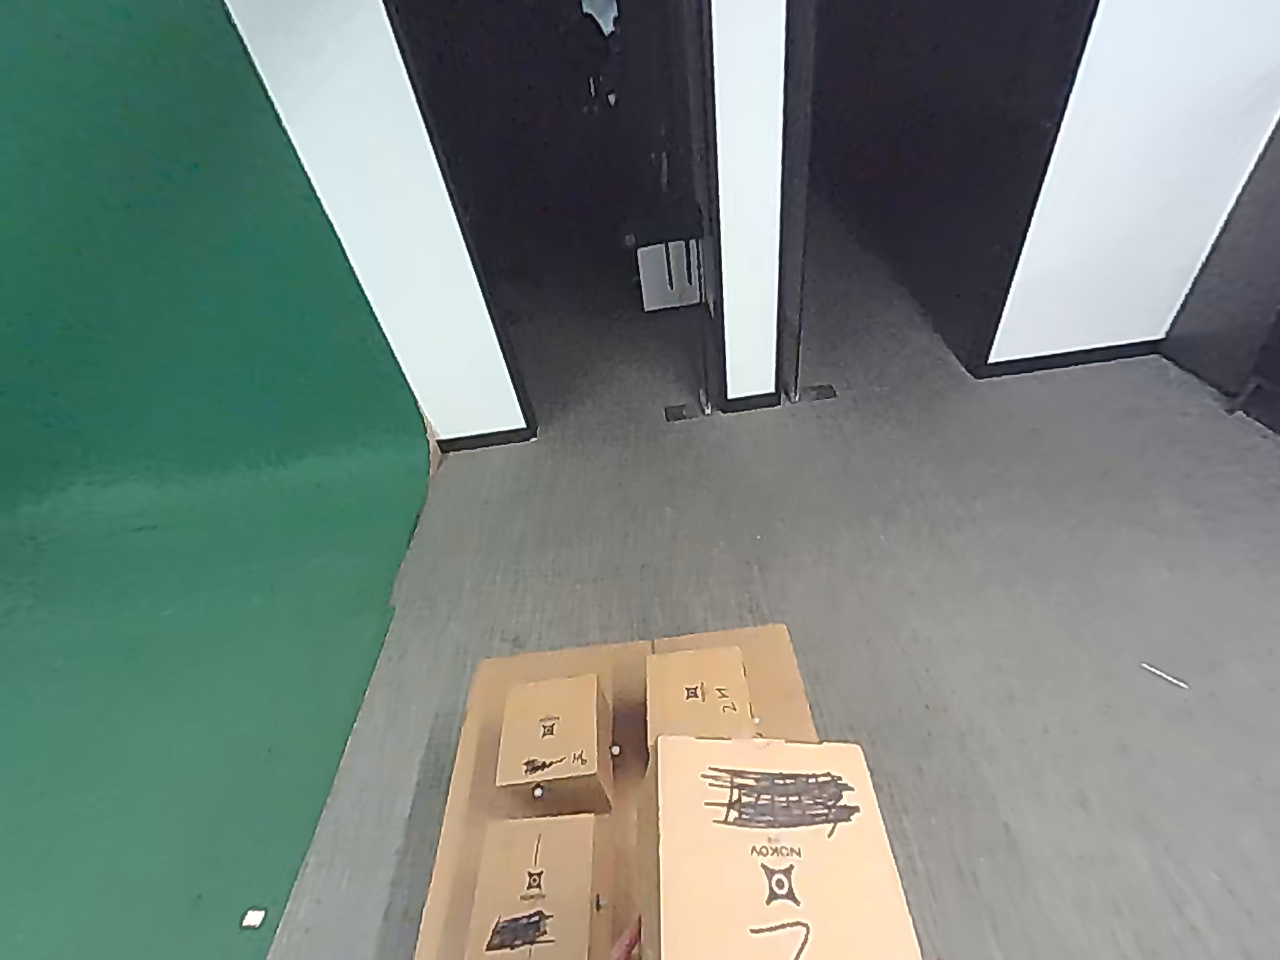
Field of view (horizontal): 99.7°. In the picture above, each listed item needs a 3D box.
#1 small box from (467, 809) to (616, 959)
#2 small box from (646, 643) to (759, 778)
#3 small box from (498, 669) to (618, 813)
[{"bbox_3d":[-0.130,0.613,0.795,0.168,0.176,0.179,-8,40,5],"label":"small box"},{"bbox_3d":[0.111,0.417,0.970,0.179,0.176,0.168,-7,40,7],"label":"small box"},{"bbox_3d":[-0.137,0.469,0.963,0.168,0.176,0.179,-10,39,4],"label":"small box"}]
